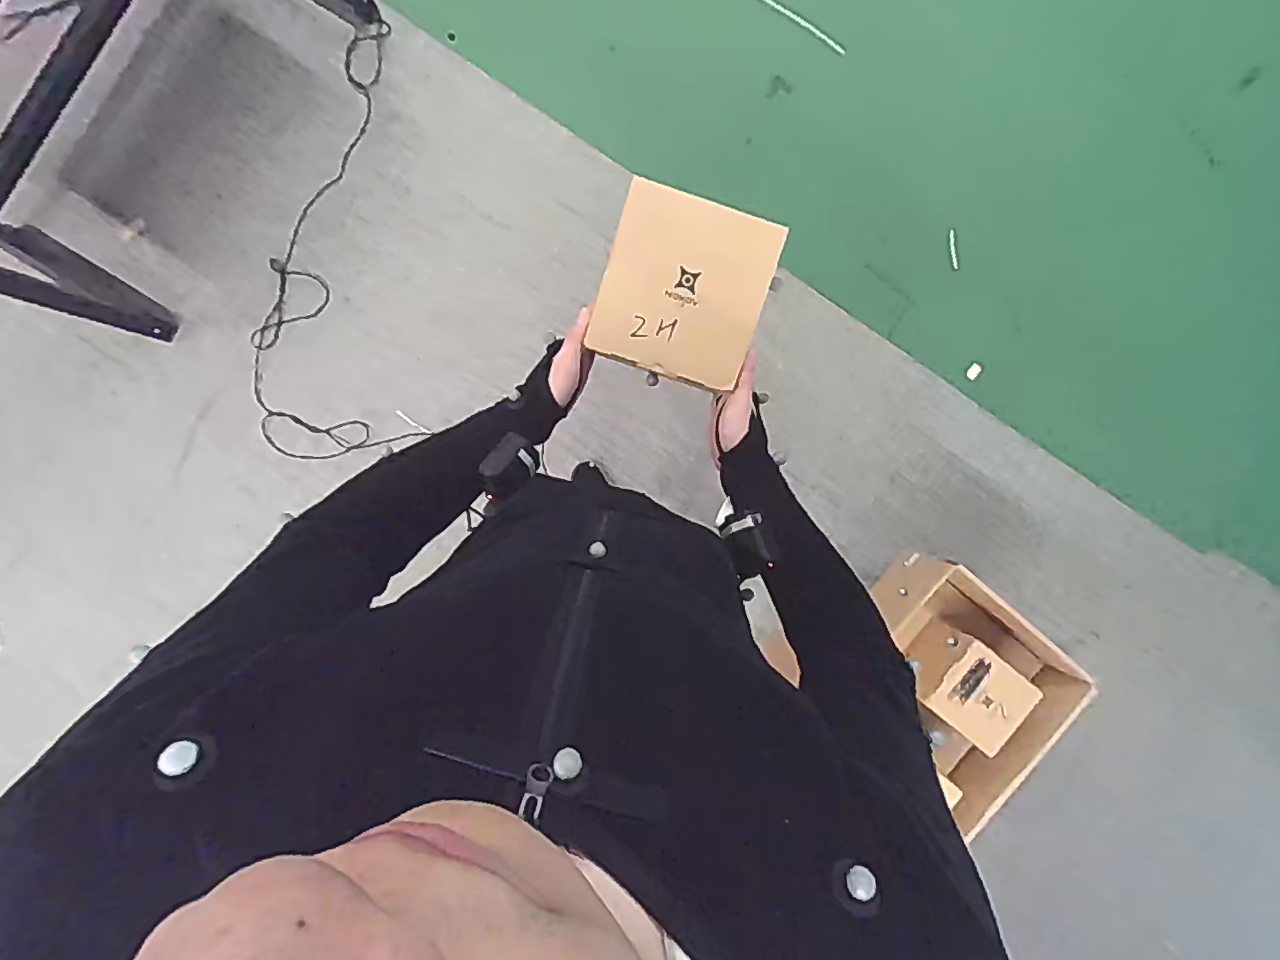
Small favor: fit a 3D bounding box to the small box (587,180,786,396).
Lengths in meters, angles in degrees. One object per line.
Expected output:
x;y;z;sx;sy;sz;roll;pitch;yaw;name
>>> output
0.046;-0.209;0.633;0.168;0.176;0.179;18;101;-3;small box
